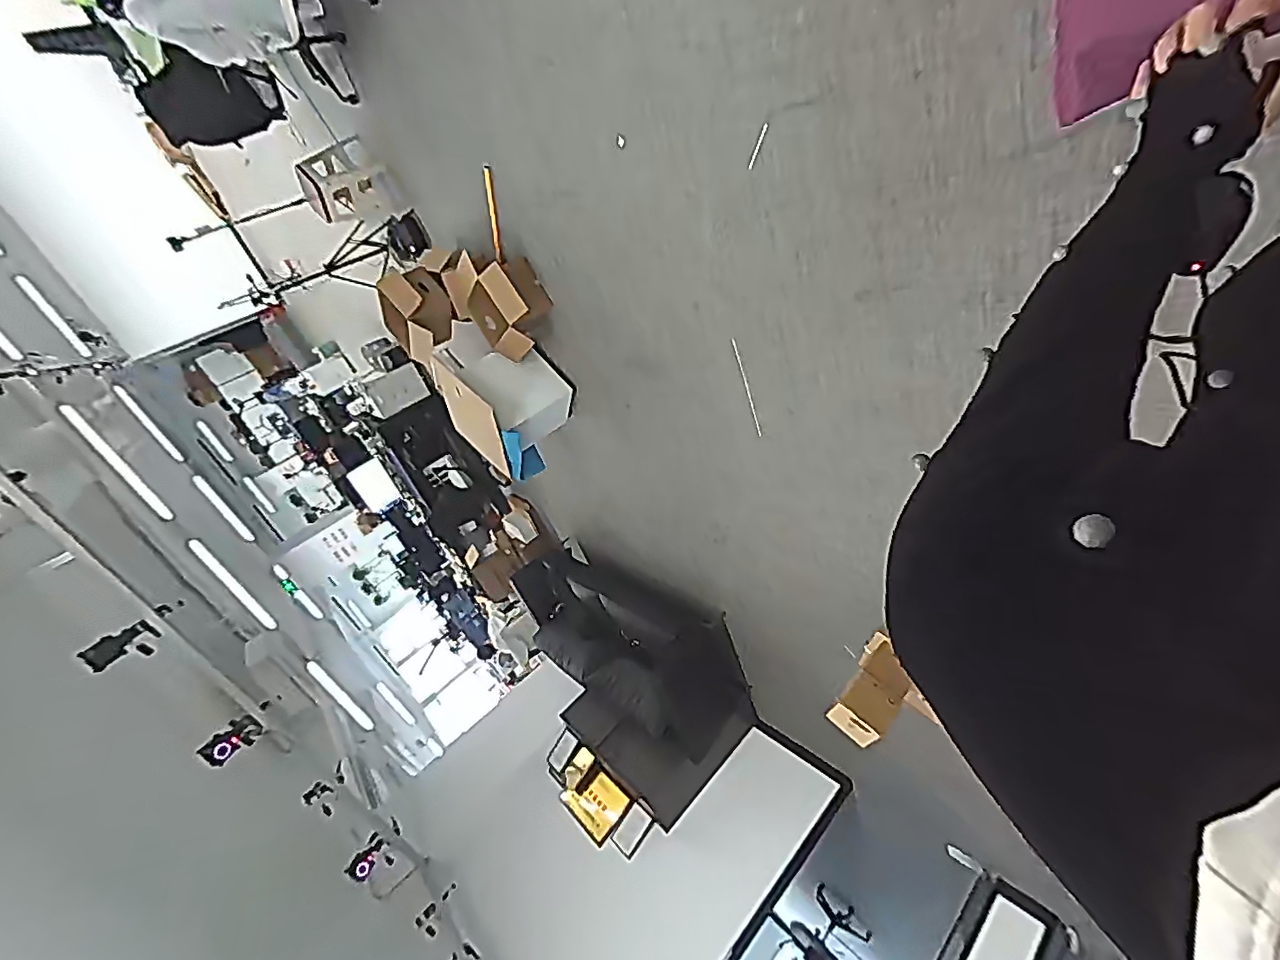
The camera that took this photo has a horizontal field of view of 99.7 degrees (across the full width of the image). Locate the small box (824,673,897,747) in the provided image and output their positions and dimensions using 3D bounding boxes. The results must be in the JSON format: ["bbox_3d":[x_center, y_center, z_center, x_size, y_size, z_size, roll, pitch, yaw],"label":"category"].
[{"bbox_3d":[0.821,0.848,2.003,0.168,0.176,0.179,38,150,24],"label":"small box"}]

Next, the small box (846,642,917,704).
[{"bbox_3d":[0.933,0.762,2.086,0.168,0.176,0.179,38,148,24],"label":"small box"}]

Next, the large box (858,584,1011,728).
[{"bbox_3d":[1.170,0.699,2.182,0.408,0.320,0.320,34,149,30],"label":"large box"}]
